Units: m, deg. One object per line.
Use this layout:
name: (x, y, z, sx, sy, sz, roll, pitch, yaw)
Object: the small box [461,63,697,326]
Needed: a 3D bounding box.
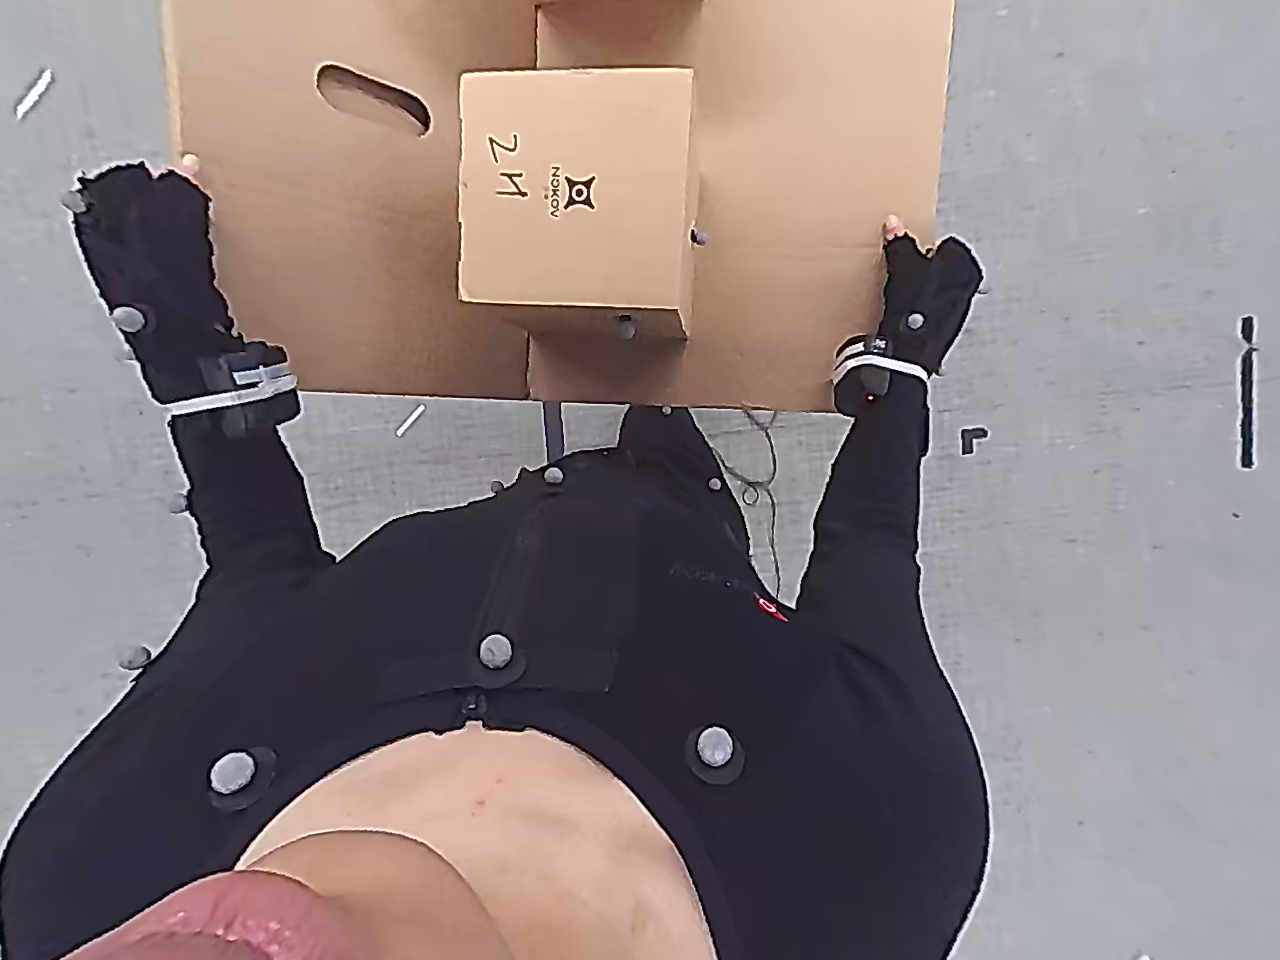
small box: (-0.042, -0.237, 0.489, 0.179, 0.176, 0.168, 5, 98, 8)
